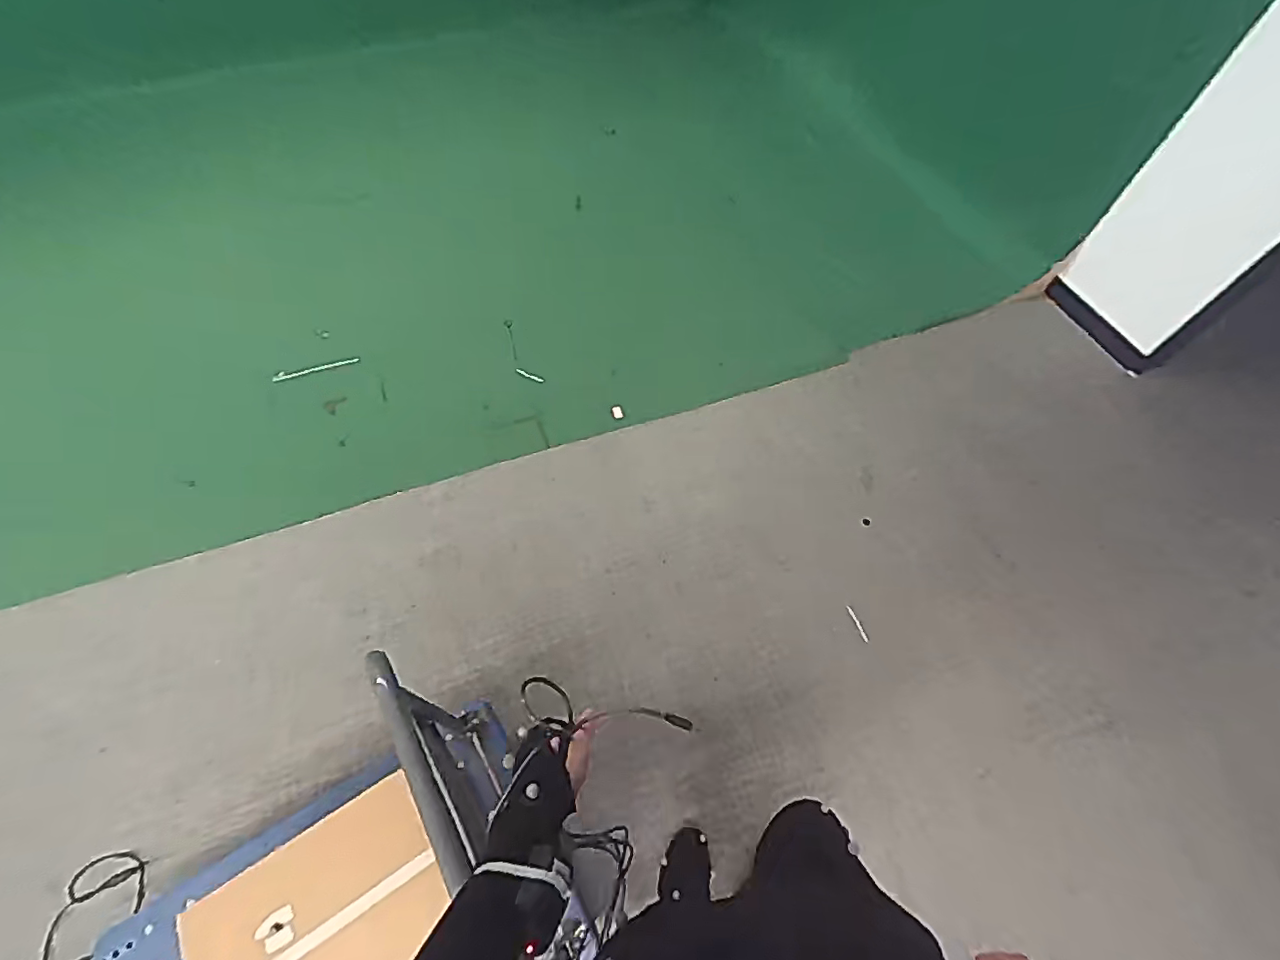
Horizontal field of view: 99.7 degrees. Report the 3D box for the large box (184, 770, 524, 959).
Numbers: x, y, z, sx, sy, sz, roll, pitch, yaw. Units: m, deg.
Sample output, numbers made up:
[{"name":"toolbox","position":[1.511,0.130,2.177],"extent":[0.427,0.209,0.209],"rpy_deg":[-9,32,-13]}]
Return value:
[{"name":"large box","position":[-0.483,0.795,0.988],"extent":[0.408,0.320,0.320],"rpy_deg":[-31,64,-14]}]
